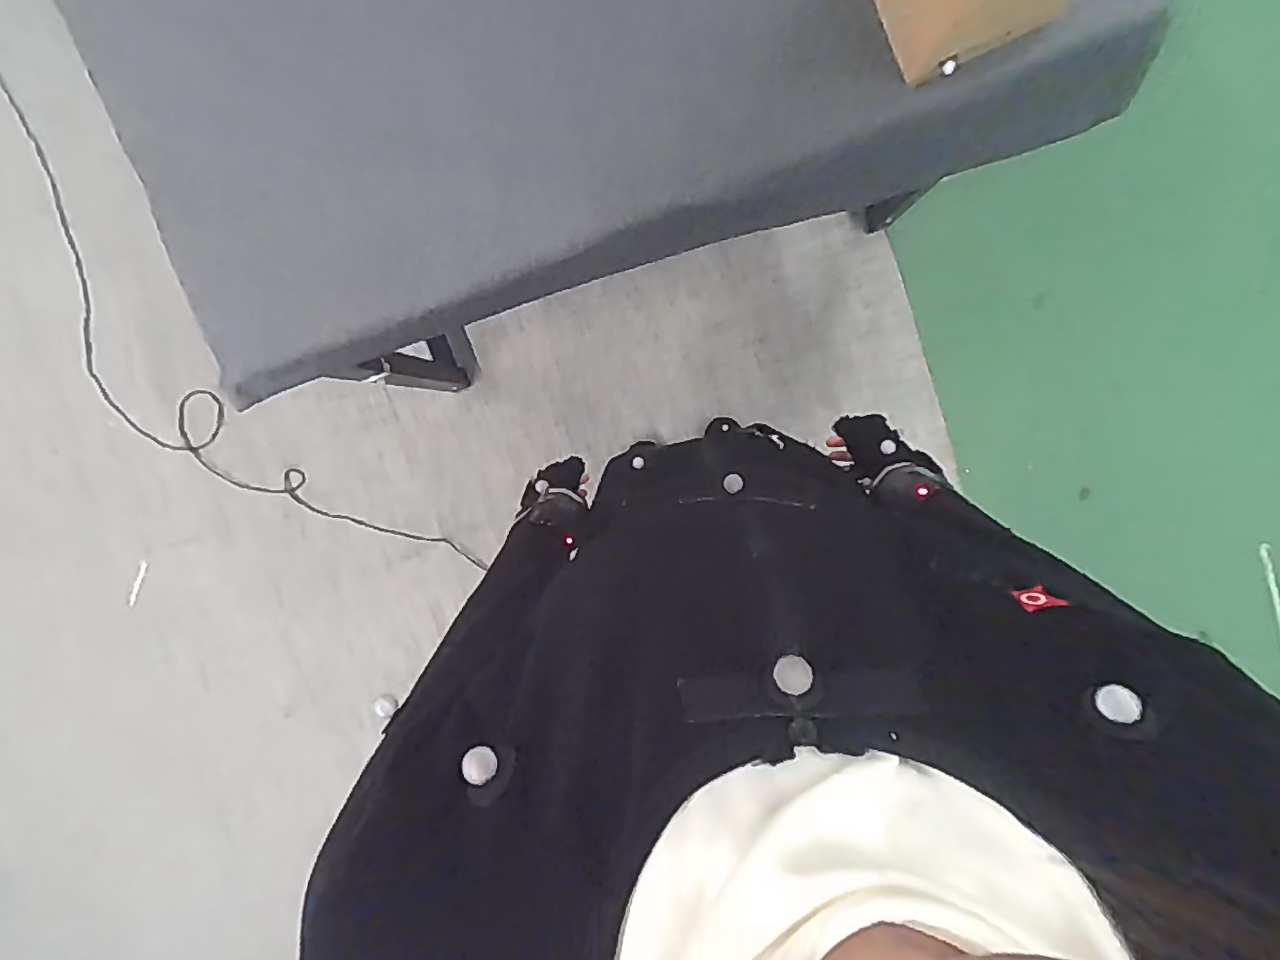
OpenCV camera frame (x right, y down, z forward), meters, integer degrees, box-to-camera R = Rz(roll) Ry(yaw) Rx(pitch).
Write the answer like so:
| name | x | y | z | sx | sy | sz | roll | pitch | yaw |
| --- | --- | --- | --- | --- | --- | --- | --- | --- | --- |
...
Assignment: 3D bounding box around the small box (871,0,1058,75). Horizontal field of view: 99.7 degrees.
| name | x | y | z | sx | sy | sz | roll | pitch | yaw |
| --- | --- | --- | --- | --- | --- | --- | --- | --- | --- |
| small box | 0.348 | -0.562 | 0.548 | 0.168 | 0.176 | 0.179 | -23 | 93 | 5 |
